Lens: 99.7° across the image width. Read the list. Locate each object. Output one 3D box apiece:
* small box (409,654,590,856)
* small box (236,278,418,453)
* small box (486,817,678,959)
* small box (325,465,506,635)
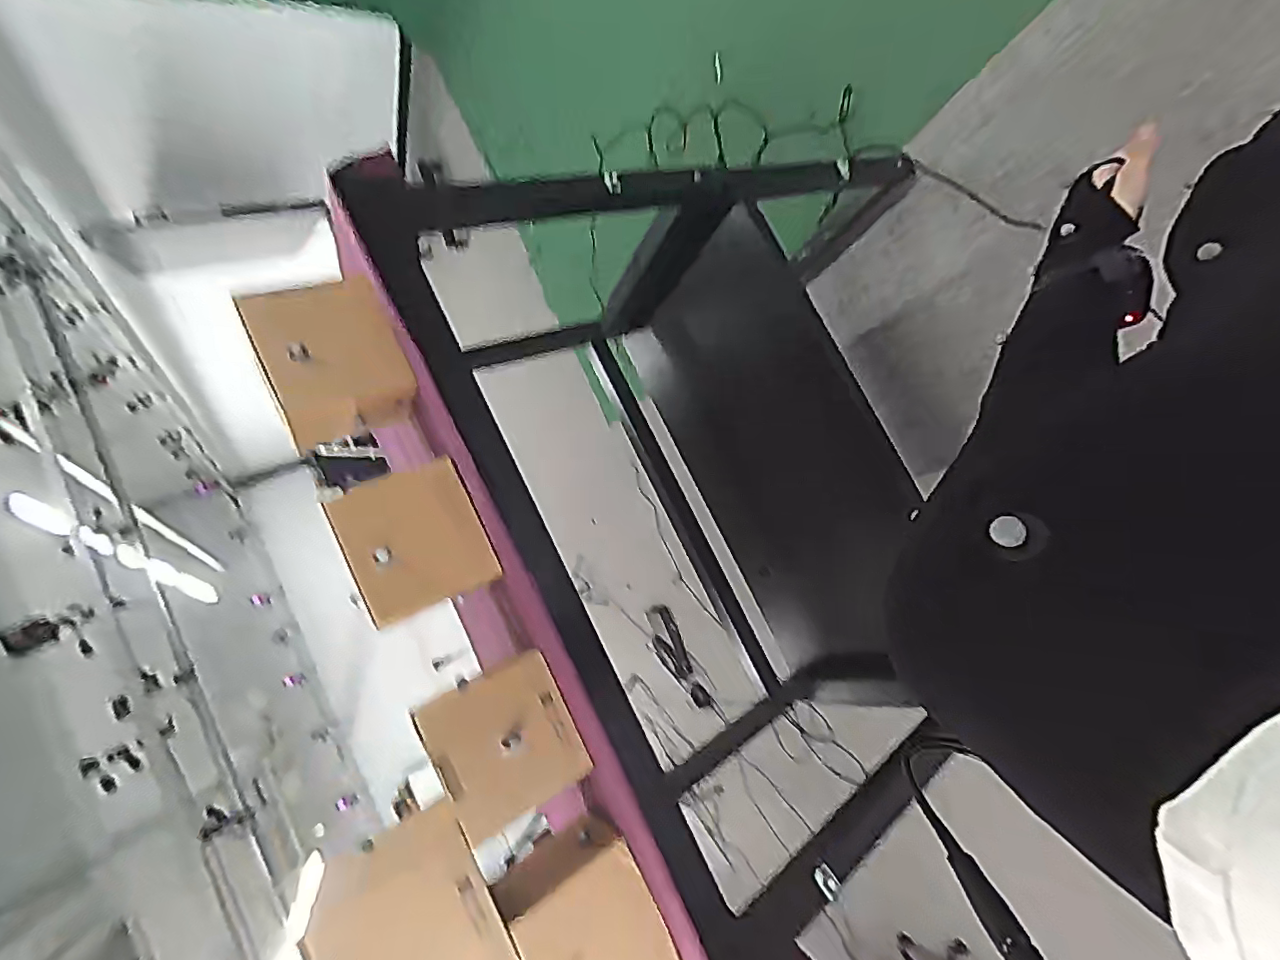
[{"bbox_3d":[-0.187,0.345,0.720,0.168,0.176,0.179,63,150,7],"label":"small box"},{"bbox_3d":[-0.437,-0.164,0.778,0.168,0.176,0.179,-29,85,58],"label":"small box"},{"bbox_3d":[-0.073,0.579,0.690,0.179,0.176,0.168,64,149,8],"label":"small box"},{"bbox_3d":[-0.311,0.093,0.752,0.179,0.176,0.168,63,150,5],"label":"small box"}]
